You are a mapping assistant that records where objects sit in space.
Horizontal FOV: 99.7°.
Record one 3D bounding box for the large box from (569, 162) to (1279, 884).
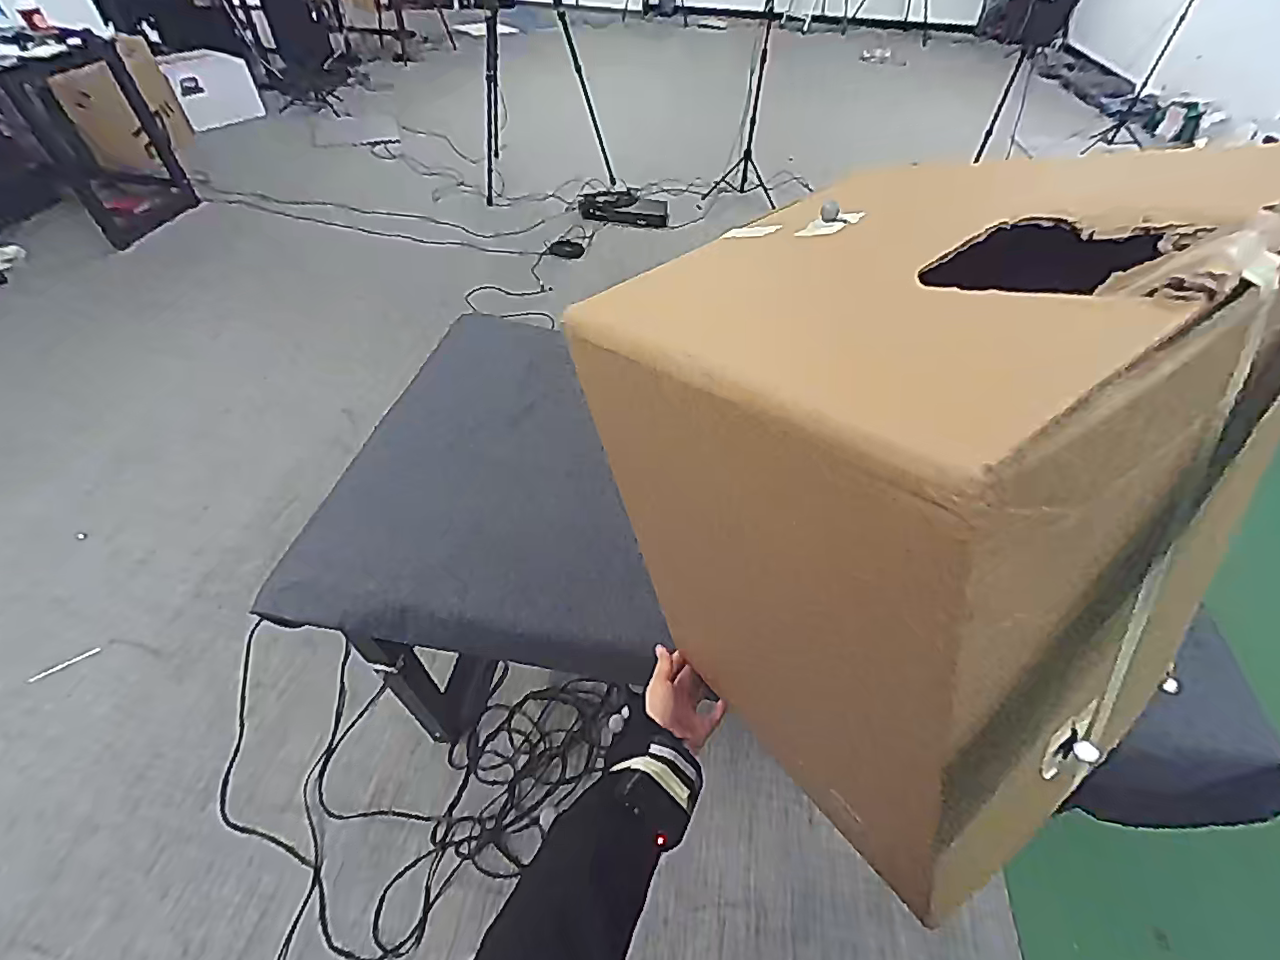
[{"bbox_3d":[0.195,0.015,0.442,0.320,0.408,0.320,-32,38,-17],"label":"large box"}]
